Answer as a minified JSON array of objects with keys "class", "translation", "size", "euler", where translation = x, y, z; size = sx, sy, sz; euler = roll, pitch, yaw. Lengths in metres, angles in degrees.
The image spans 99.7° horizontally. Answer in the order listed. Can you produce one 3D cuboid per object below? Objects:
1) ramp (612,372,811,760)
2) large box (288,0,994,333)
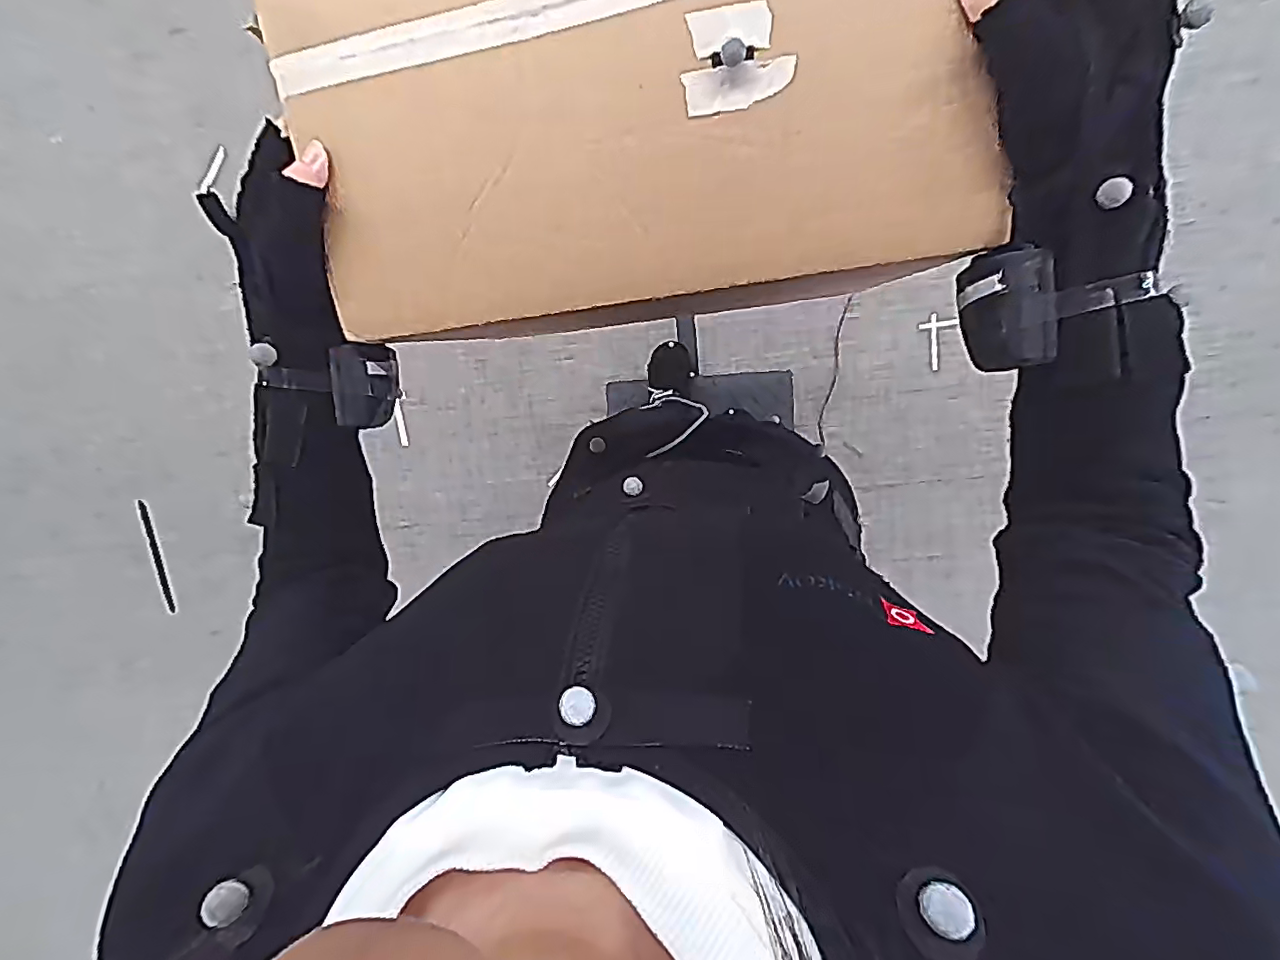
[{"class":"ramp","translation":[0.179,0.227,1.432],"size":[0.509,0.206,0.991],"euler":[-4,99,11]},{"class":"large box","translation":[0.004,-0.309,0.448],"size":[0.408,0.320,0.320],"euler":[-6,105,10]}]
